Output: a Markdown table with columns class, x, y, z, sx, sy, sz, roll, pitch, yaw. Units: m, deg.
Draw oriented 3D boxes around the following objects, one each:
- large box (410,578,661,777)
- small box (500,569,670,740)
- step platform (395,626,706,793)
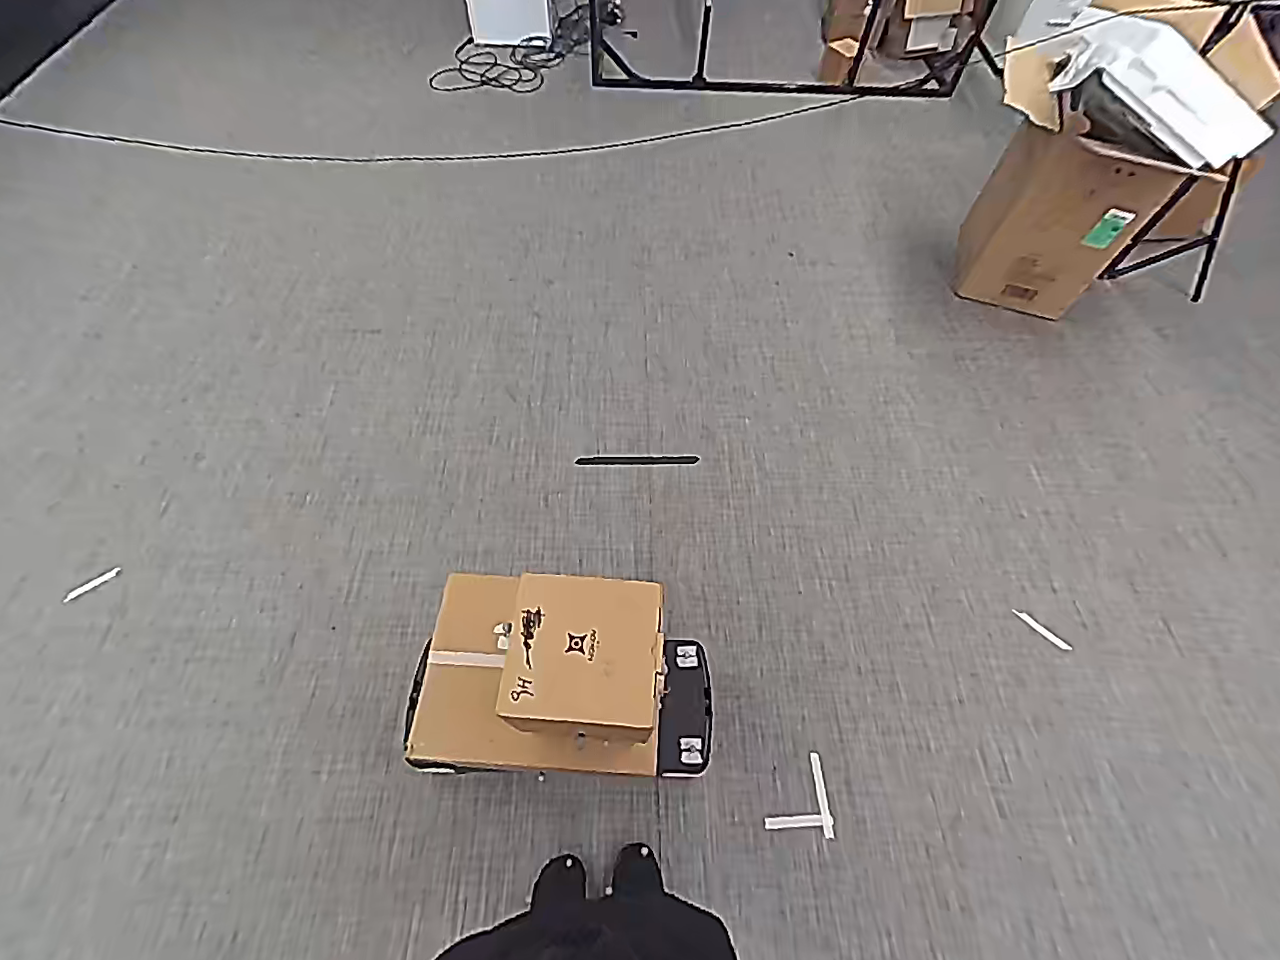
| class | x | y | z | sx | sy | sz | roll | pitch | yaw |
| --- | --- | --- | --- | --- | --- | --- | --- | --- | --- |
| large box | -0.162 | 0.397 | 1.057 | 0.408 | 0.320 | 0.320 | 3 | 59 | 1 |
| small box | -0.062 | 0.227 | 0.686 | 0.179 | 0.176 | 0.168 | 6 | 59 | 0 |
| step platform | -0.190 | 0.527 | 1.255 | 0.684 | 0.204 | 0.286 | 6 | 59 | 2 |
